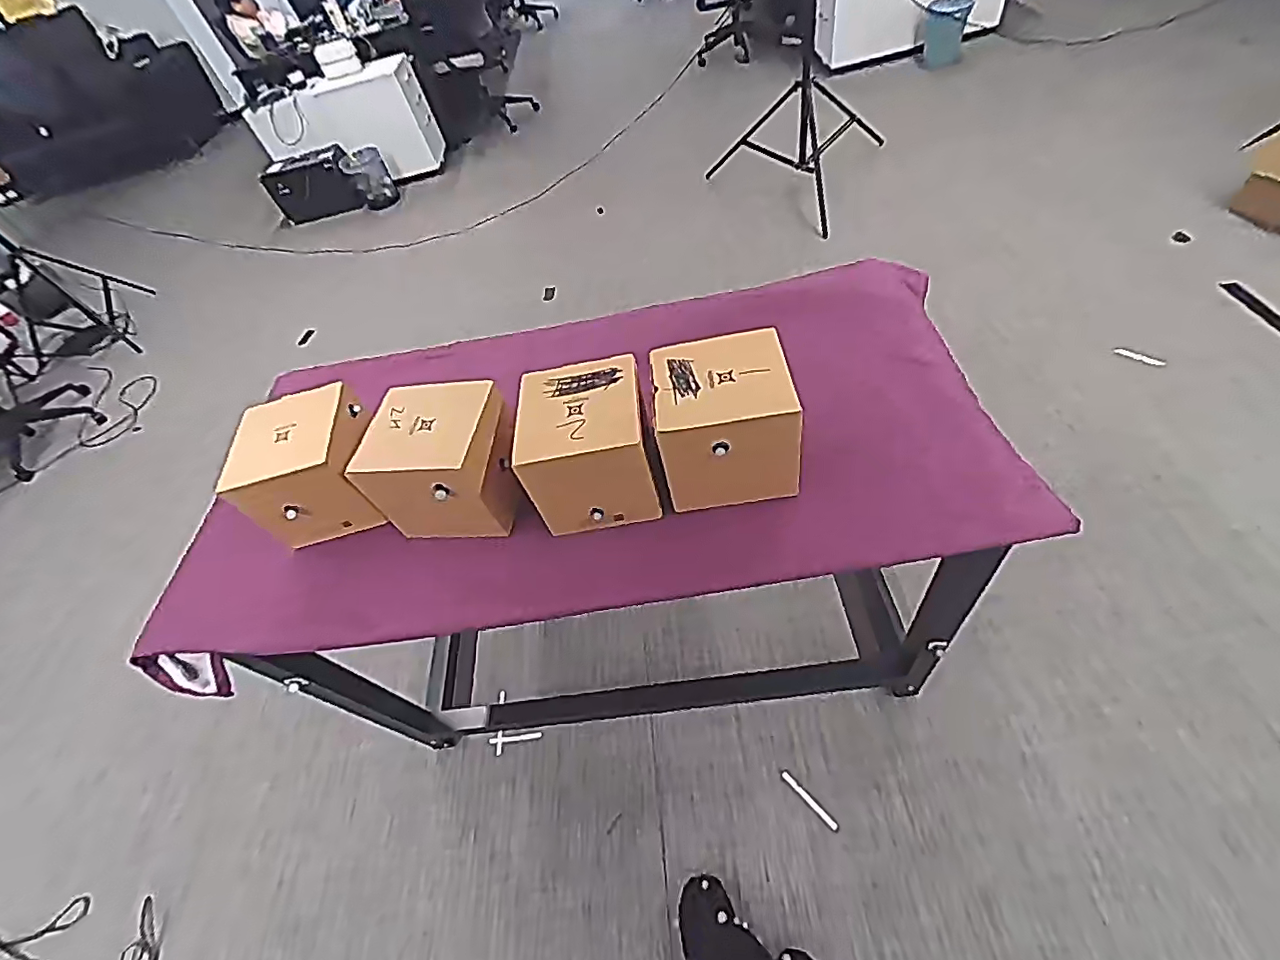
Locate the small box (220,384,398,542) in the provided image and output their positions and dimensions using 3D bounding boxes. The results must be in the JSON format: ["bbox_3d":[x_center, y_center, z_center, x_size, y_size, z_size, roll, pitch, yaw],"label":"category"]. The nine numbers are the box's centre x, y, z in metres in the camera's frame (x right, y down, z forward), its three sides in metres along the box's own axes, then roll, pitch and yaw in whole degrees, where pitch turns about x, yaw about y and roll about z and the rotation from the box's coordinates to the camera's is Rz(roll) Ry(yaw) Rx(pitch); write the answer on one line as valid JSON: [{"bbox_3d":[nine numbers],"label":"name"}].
[{"bbox_3d":[-0.514,-0.018,0.871,0.168,0.176,0.179,-16,51,2],"label":"small box"}]
